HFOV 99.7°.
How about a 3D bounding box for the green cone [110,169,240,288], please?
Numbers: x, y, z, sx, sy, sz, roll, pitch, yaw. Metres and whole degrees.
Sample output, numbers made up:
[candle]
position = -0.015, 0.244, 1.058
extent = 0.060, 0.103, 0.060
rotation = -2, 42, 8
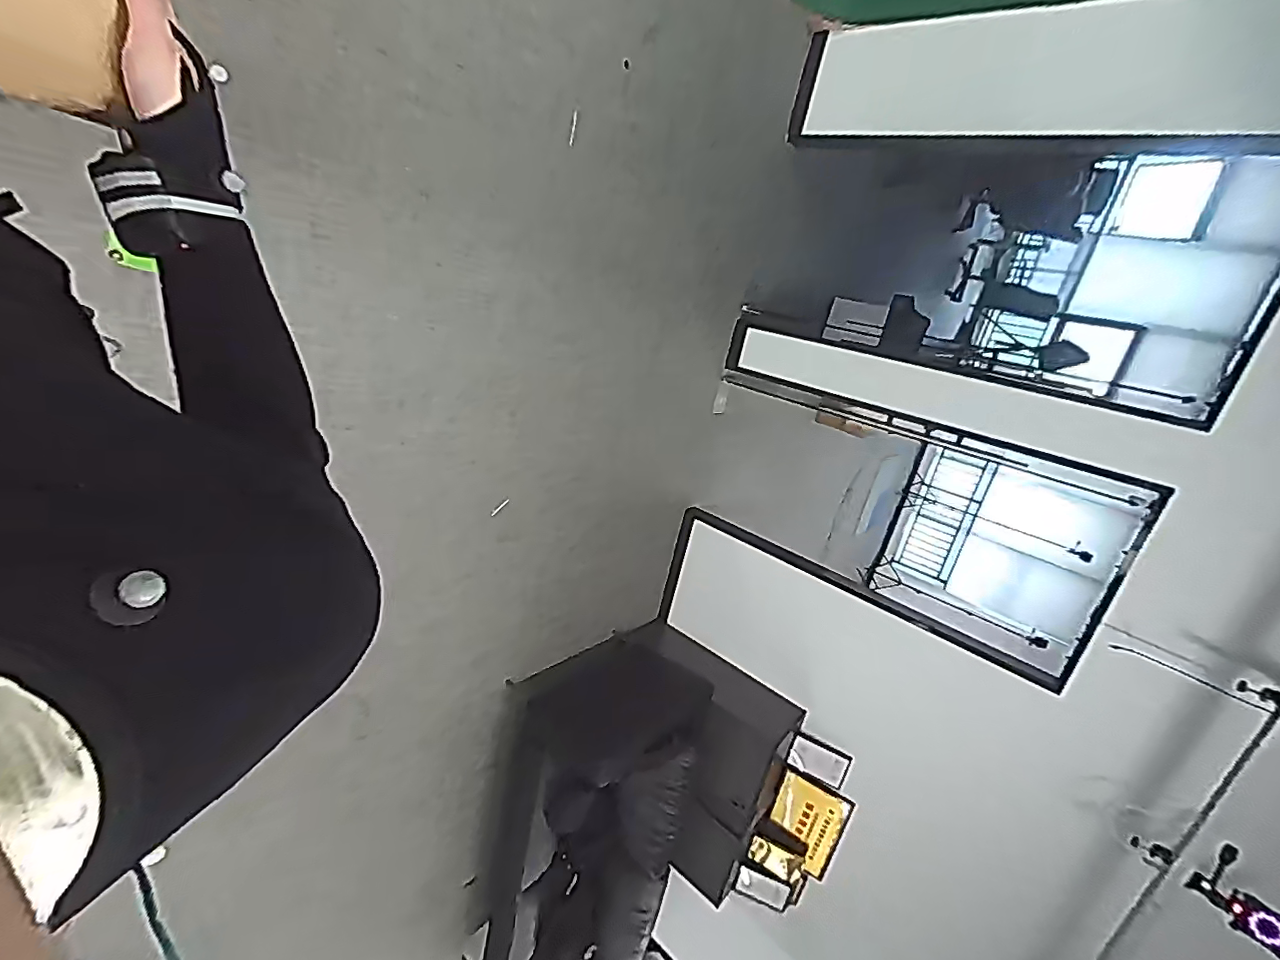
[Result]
[green cone]
position = -0.893, -0.487, 1.094
extent = 0.200, 0.368, 0.202
rotation = -1, 110, -54
